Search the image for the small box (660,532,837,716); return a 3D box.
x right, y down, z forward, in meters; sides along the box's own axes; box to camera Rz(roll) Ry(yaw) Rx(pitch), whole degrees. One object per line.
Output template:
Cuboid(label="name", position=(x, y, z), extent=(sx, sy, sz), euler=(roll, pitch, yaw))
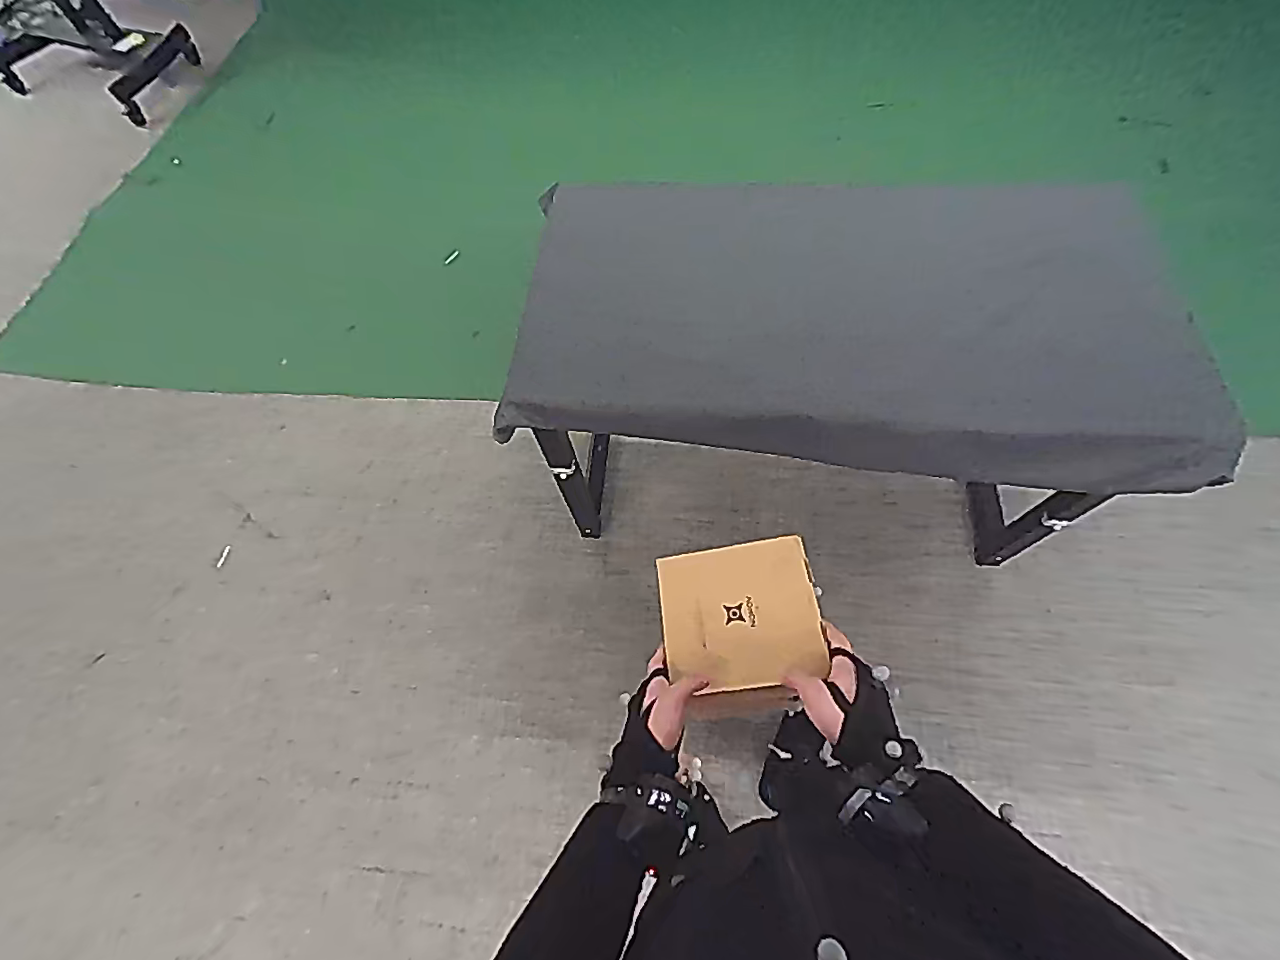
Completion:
Cuboid(label="small box", position=(0.129, 0.183, 0.662), extent=(0.179, 0.176, 0.168), euler=(-10, 55, 11))
